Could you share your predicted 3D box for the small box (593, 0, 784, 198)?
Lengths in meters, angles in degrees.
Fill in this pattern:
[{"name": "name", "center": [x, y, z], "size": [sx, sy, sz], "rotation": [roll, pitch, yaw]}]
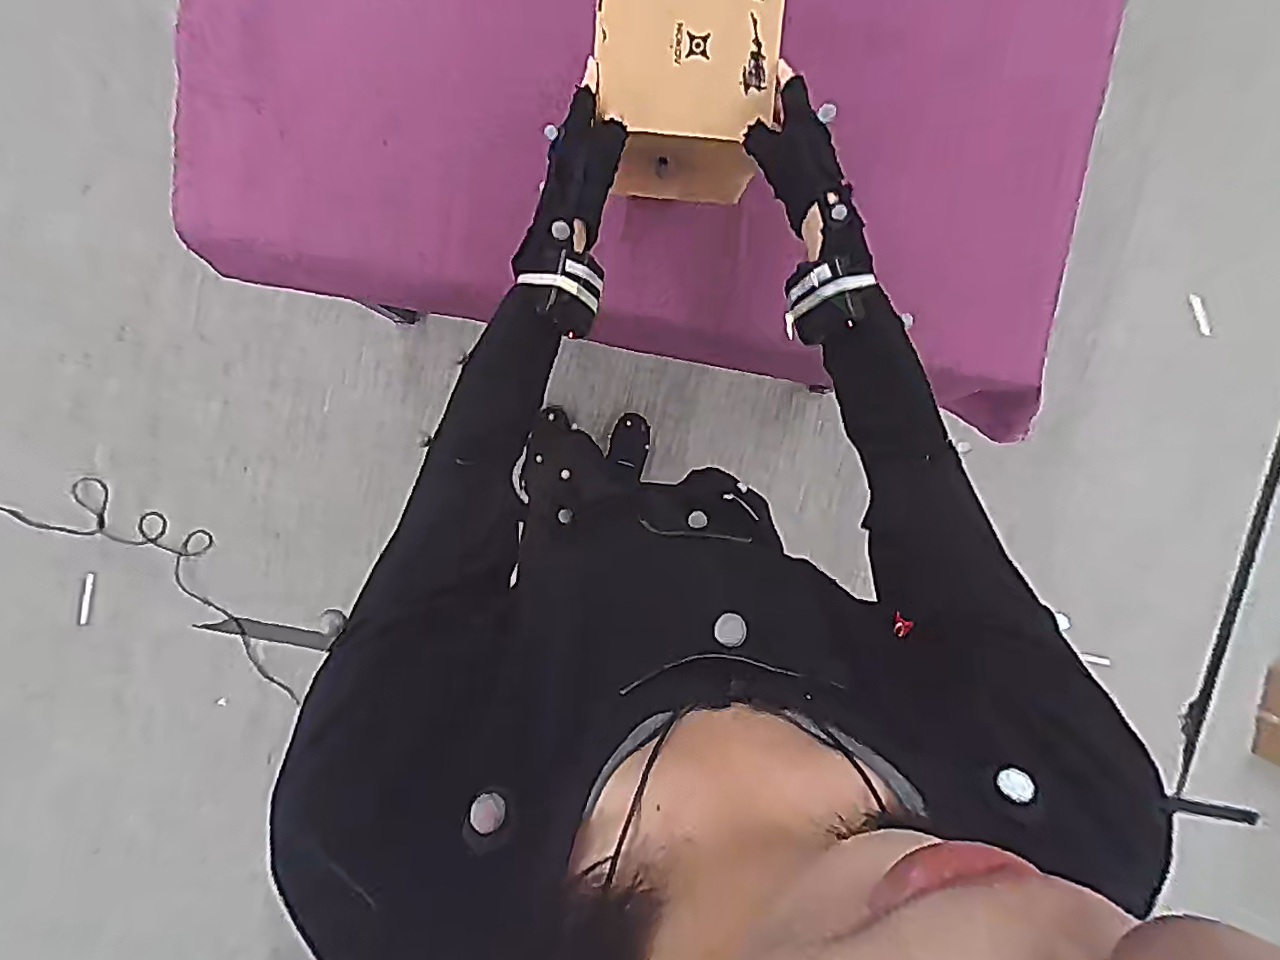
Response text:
[{"name": "small box", "center": [0.049, -0.430, 0.596], "size": [0.179, 0.176, 0.168], "rotation": [5, 98, 0]}]
